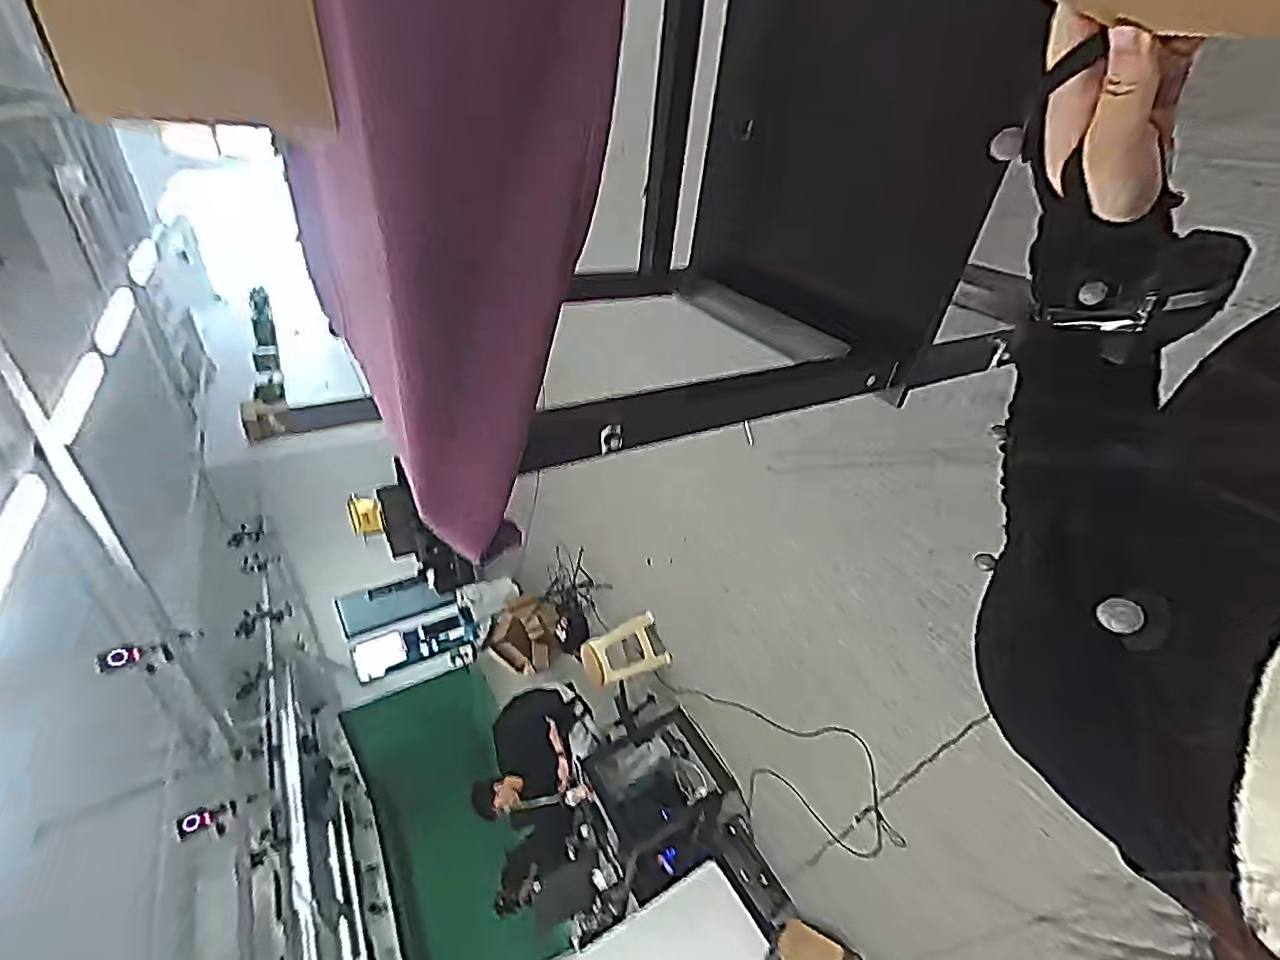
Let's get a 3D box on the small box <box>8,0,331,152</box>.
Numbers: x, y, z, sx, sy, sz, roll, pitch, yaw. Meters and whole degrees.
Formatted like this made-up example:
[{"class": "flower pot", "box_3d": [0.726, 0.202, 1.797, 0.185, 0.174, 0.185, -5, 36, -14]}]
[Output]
[{"class": "small box", "box_3d": [-0.364, -0.370, 0.426, 0.168, 0.176, 0.179, 43, 139, 45]}]
